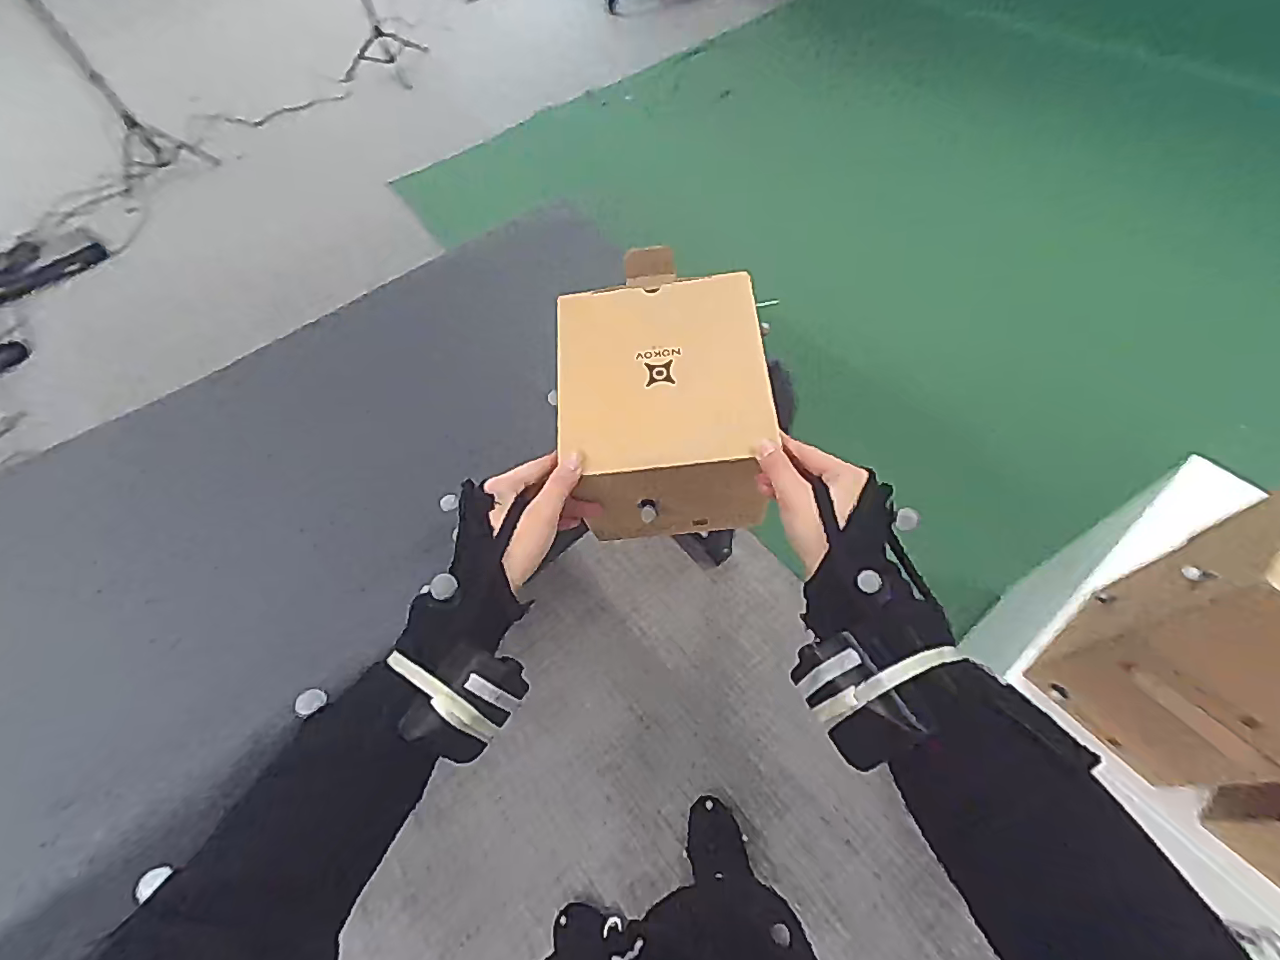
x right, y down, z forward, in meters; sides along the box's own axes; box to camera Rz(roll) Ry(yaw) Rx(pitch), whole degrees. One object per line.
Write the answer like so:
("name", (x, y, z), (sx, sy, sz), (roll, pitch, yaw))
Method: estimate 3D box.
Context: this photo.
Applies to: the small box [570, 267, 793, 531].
("small box", (0.035, -0.059, 0.495), (0.168, 0.176, 0.179), (-6, 66, 4))
